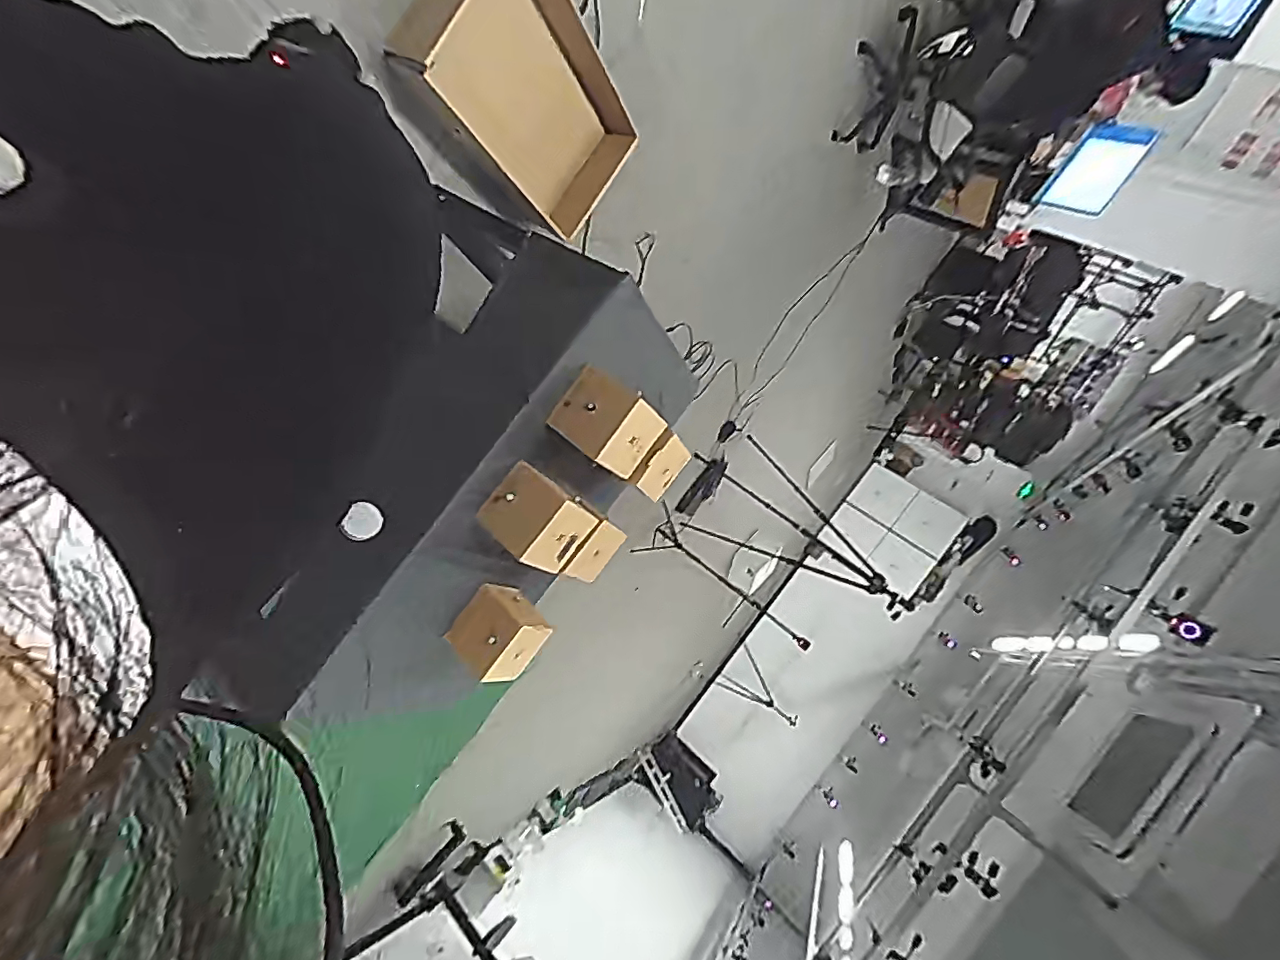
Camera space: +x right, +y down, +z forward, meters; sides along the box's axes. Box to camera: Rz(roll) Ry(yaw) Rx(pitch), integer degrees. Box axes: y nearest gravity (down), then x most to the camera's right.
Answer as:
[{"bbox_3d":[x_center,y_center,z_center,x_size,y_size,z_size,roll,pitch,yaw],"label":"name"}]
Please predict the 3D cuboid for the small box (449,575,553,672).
[{"bbox_3d":[-0.371,0.378,1.419,0.179,0.176,0.168,-53,154,-1],"label":"small box"}]
